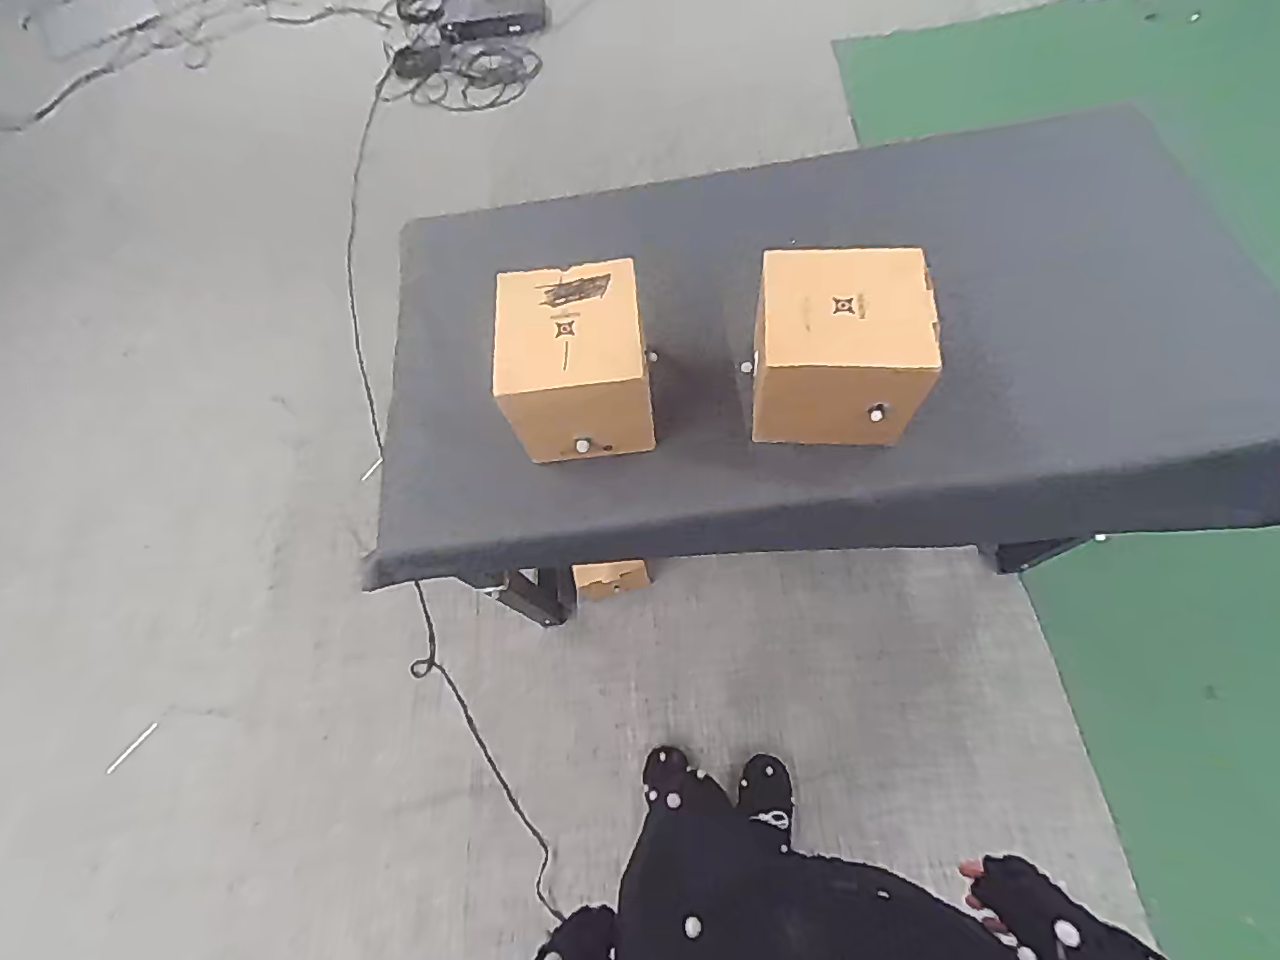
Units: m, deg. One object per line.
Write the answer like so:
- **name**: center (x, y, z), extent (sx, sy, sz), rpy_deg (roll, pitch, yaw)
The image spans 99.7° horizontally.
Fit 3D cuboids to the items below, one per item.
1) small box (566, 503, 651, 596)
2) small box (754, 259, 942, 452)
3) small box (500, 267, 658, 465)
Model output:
- **small box**: center (-0.074, 0.182, 1.351), extent (0.168, 0.176, 0.179), rpy_deg (-15, 66, -1)
- **small box**: center (0.236, -0.143, 0.659), extent (0.179, 0.176, 0.168), rpy_deg (2, 65, 9)
- **small box**: center (-0.068, -0.138, 0.687), extent (0.168, 0.176, 0.179), rpy_deg (-5, 66, 4)
